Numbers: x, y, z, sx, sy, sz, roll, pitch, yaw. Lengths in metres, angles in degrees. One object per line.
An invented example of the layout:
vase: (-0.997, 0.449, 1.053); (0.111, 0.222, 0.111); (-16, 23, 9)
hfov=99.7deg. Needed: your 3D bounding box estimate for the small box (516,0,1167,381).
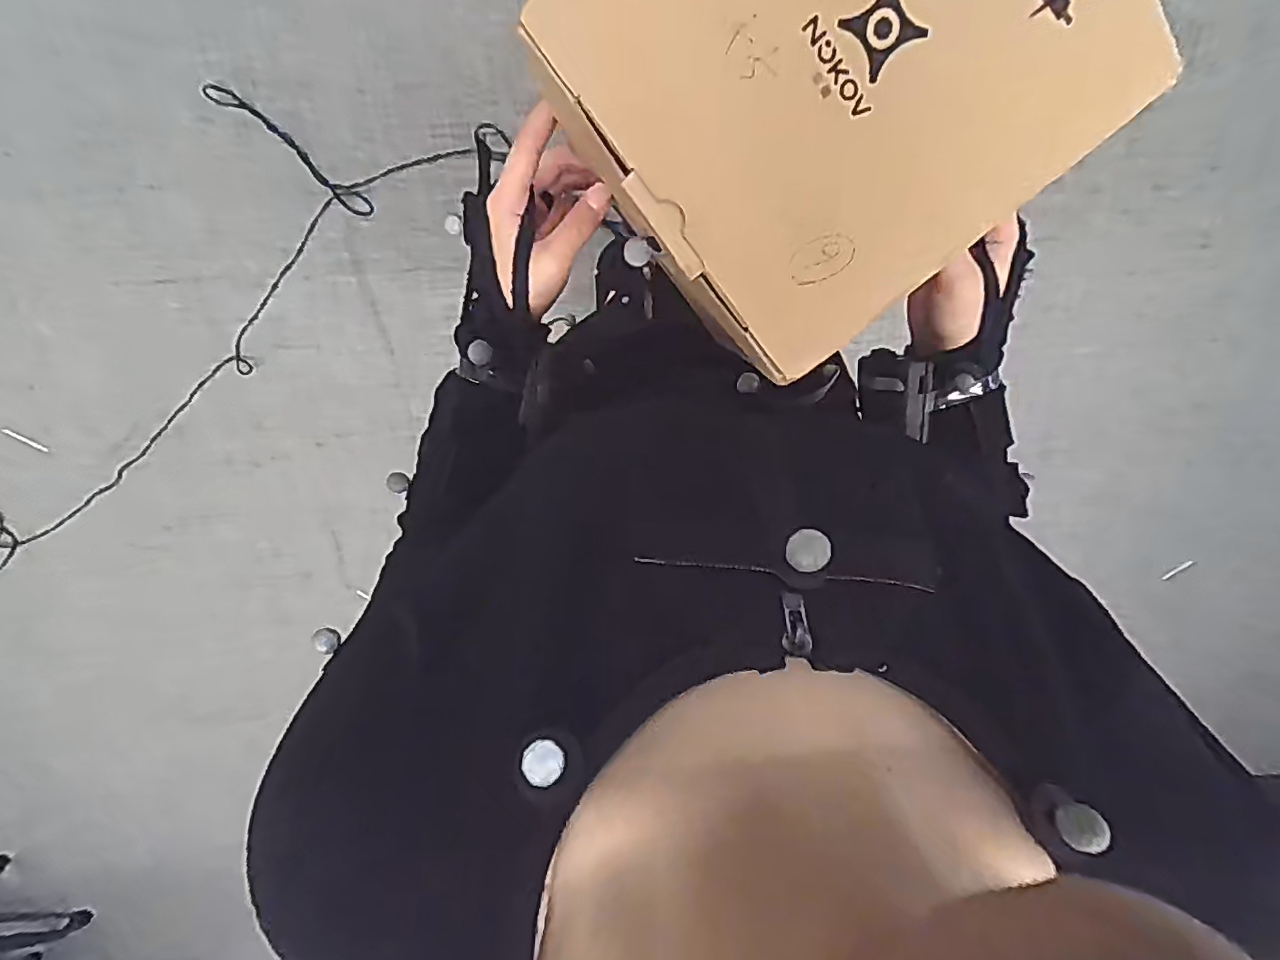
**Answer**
small box: (0.073, -0.176, 0.266); (0.179, 0.176, 0.168); (-38, 106, 13)
